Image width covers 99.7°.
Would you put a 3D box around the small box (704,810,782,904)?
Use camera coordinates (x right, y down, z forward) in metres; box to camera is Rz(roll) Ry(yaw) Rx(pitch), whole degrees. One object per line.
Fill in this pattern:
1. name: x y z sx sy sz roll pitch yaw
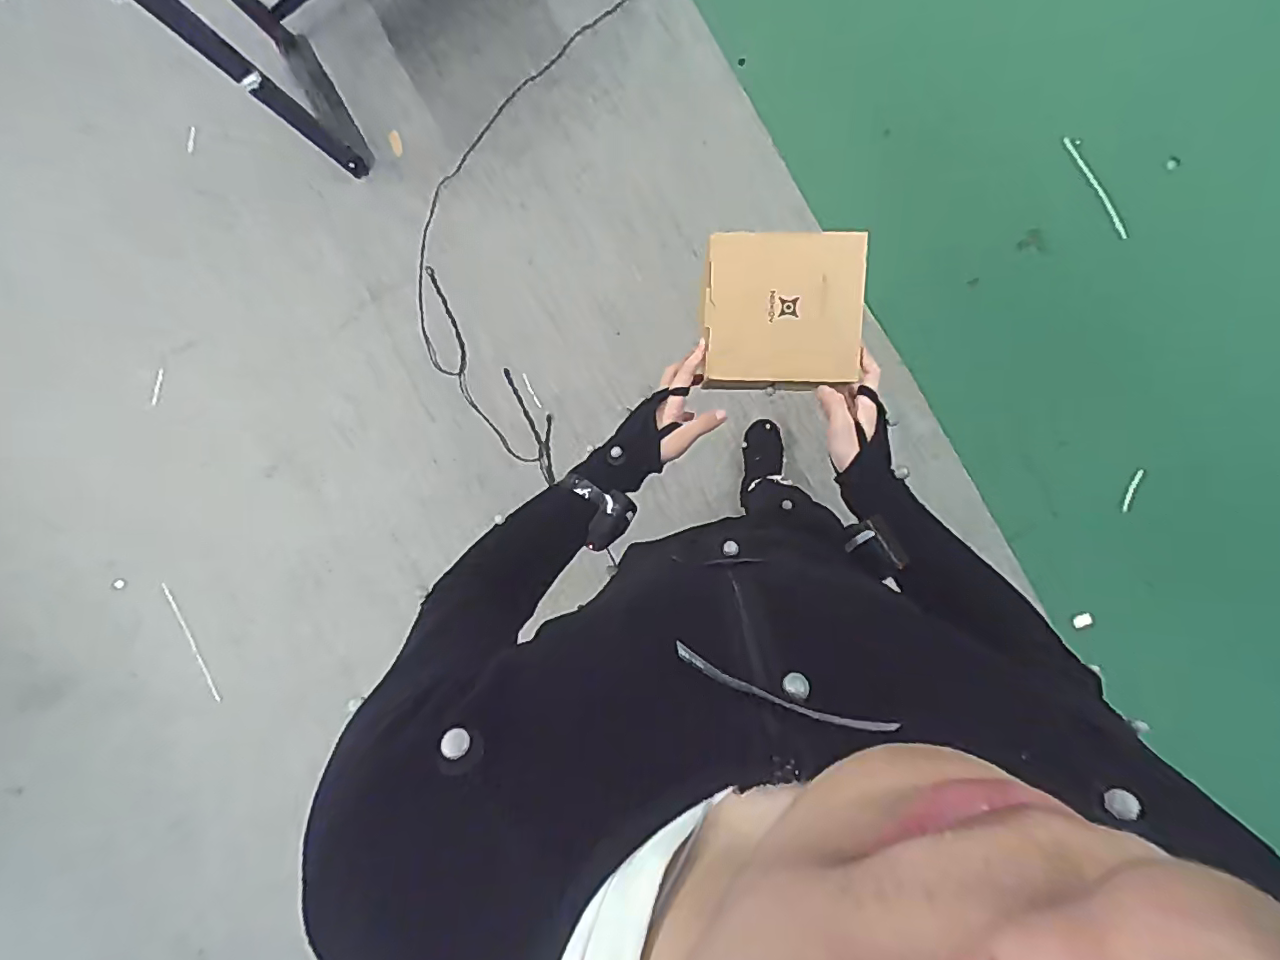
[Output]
1. small box: 0.288 1.072 1.531 0.168 0.176 0.179 -21 86 10

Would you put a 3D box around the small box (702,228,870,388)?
1. small box: 0.171 -0.206 0.689 0.179 0.176 0.168 2 96 4
